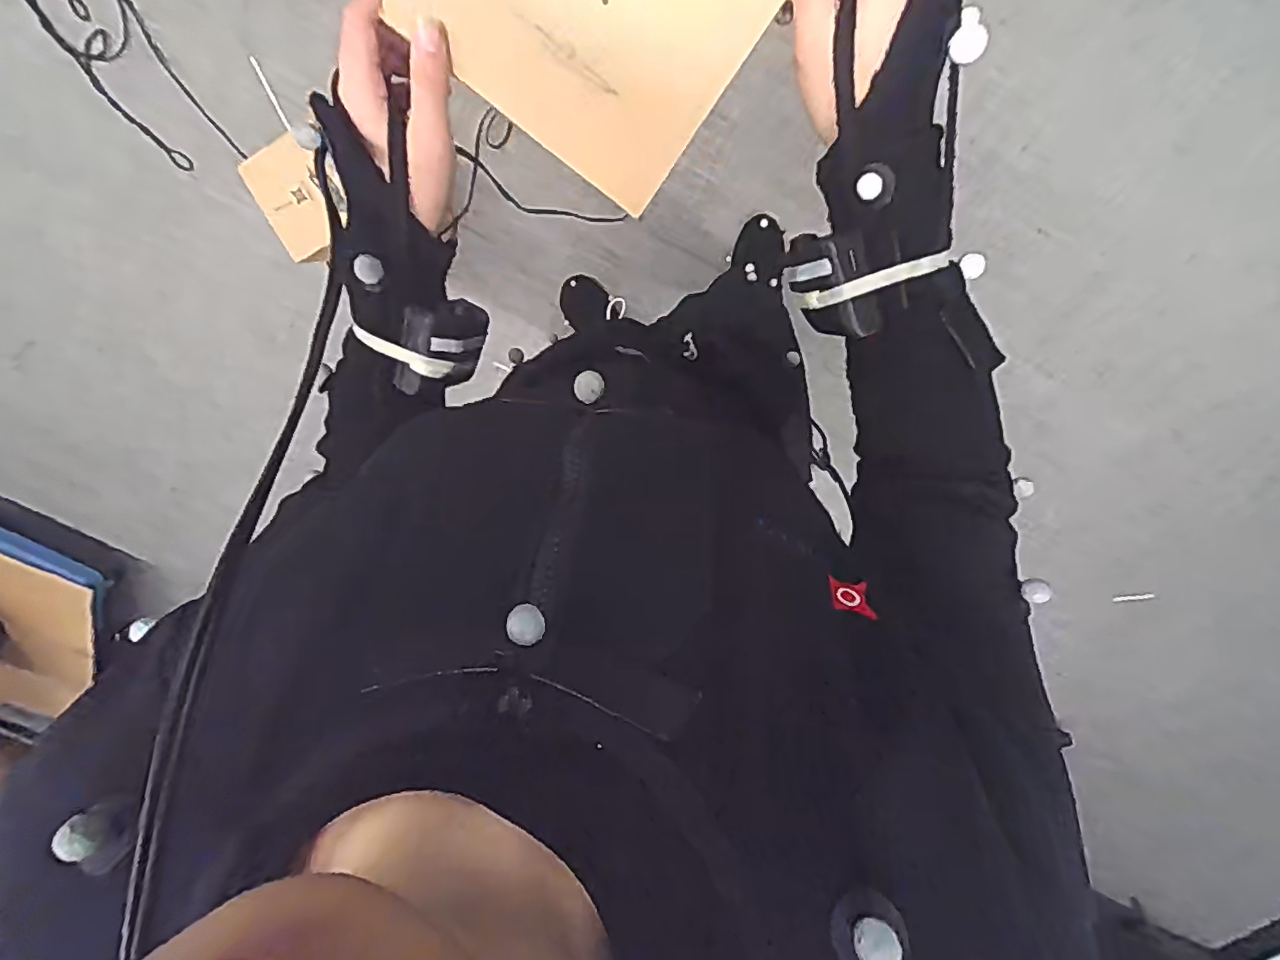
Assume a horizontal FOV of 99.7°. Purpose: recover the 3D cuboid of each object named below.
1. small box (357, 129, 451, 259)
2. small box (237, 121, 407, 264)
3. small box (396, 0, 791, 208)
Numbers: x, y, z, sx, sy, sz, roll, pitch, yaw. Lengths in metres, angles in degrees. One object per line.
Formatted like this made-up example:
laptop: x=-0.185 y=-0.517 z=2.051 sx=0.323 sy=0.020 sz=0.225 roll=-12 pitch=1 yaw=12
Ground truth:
small box: x=-0.527 y=-0.584 z=1.118 sx=0.168 sy=0.176 sz=0.179 roll=-24 pitch=110 yaw=16
small box: x=-0.551 y=-0.508 z=0.973 sx=0.179 sy=0.176 sz=0.168 roll=-19 pitch=111 yaw=15
small box: x=-0.006 y=-0.304 z=0.316 sx=0.168 sy=0.176 sz=0.179 roll=31 pitch=125 yaw=-18
